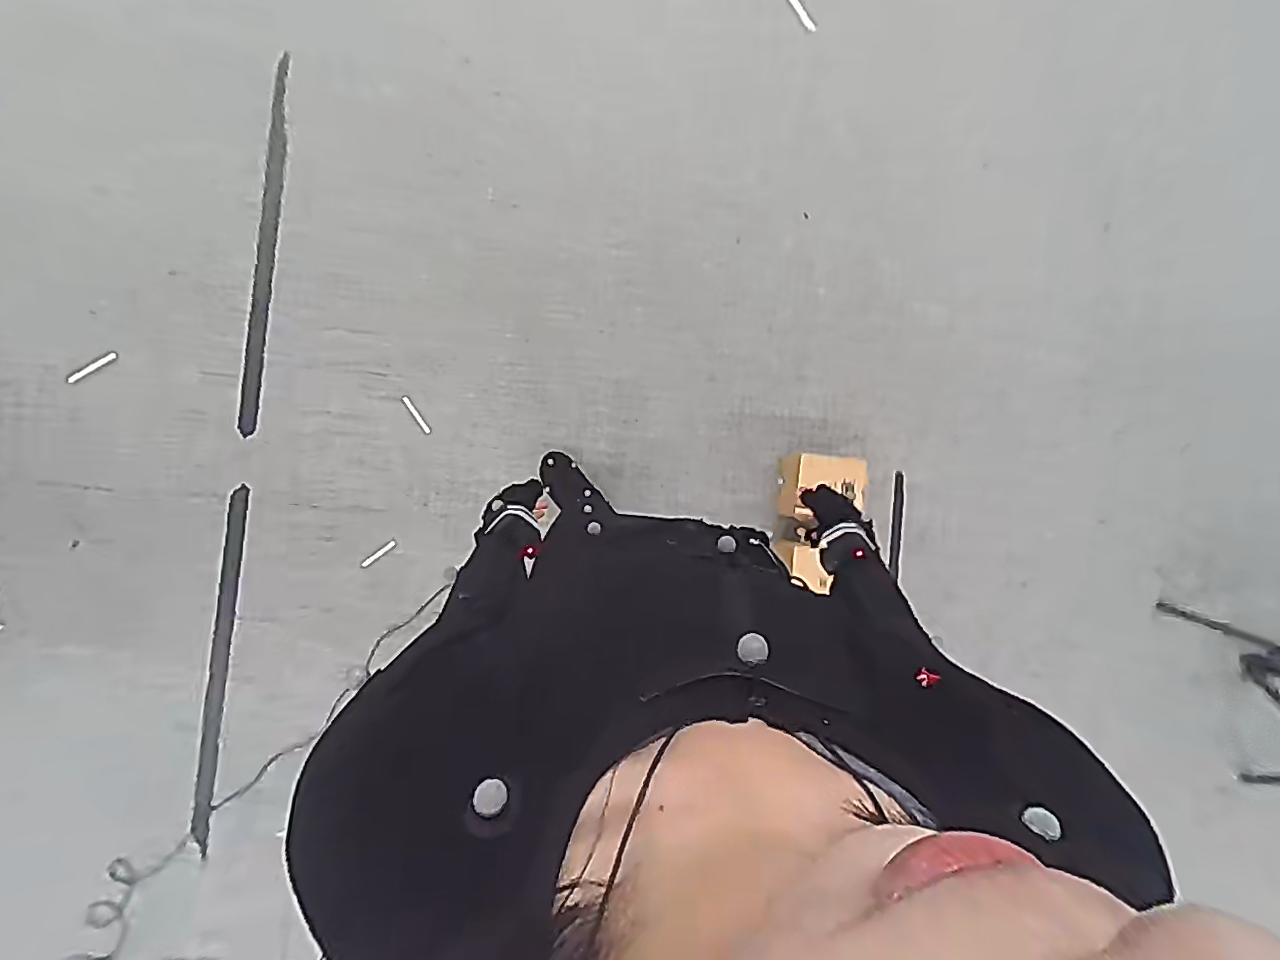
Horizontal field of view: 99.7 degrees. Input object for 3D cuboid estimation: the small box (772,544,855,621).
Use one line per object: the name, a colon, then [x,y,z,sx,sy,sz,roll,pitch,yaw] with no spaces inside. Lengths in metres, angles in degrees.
small box: [0.466,0.273,1.474,0.168,0.176,0.179,4,90,-1]

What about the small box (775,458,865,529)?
small box: [0.485,0.035,1.474,0.179,0.176,0.168,8,89,-2]
